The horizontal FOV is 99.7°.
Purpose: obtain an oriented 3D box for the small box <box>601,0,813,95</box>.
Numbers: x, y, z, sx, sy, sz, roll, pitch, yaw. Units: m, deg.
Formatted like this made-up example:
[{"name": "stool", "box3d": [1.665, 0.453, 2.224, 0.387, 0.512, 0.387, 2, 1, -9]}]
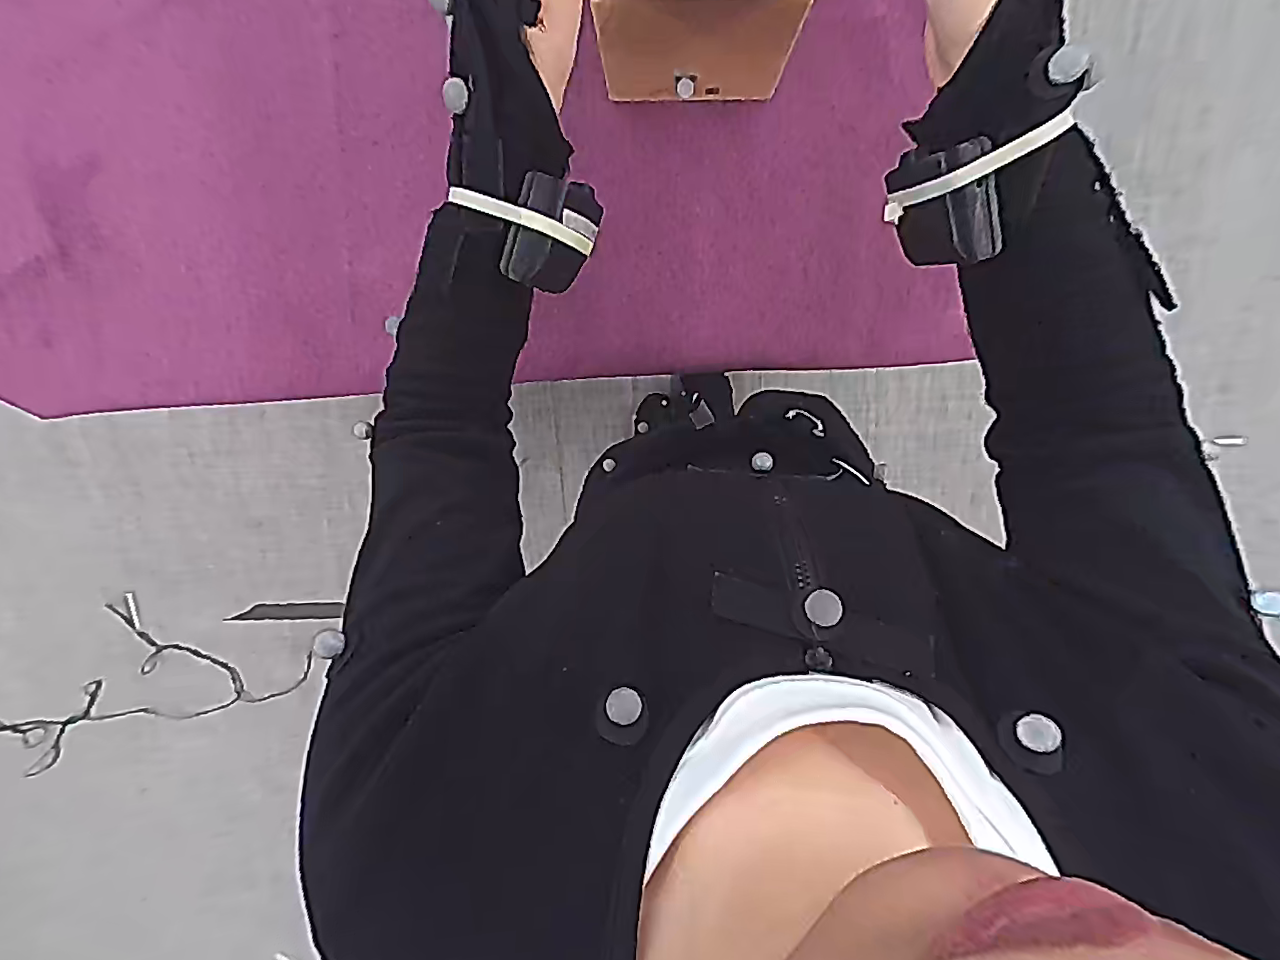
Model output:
[{"name": "small box", "box3d": [0.052, -0.457, 0.447, 0.168, 0.176, 0.179, 1, 104, 2]}]
